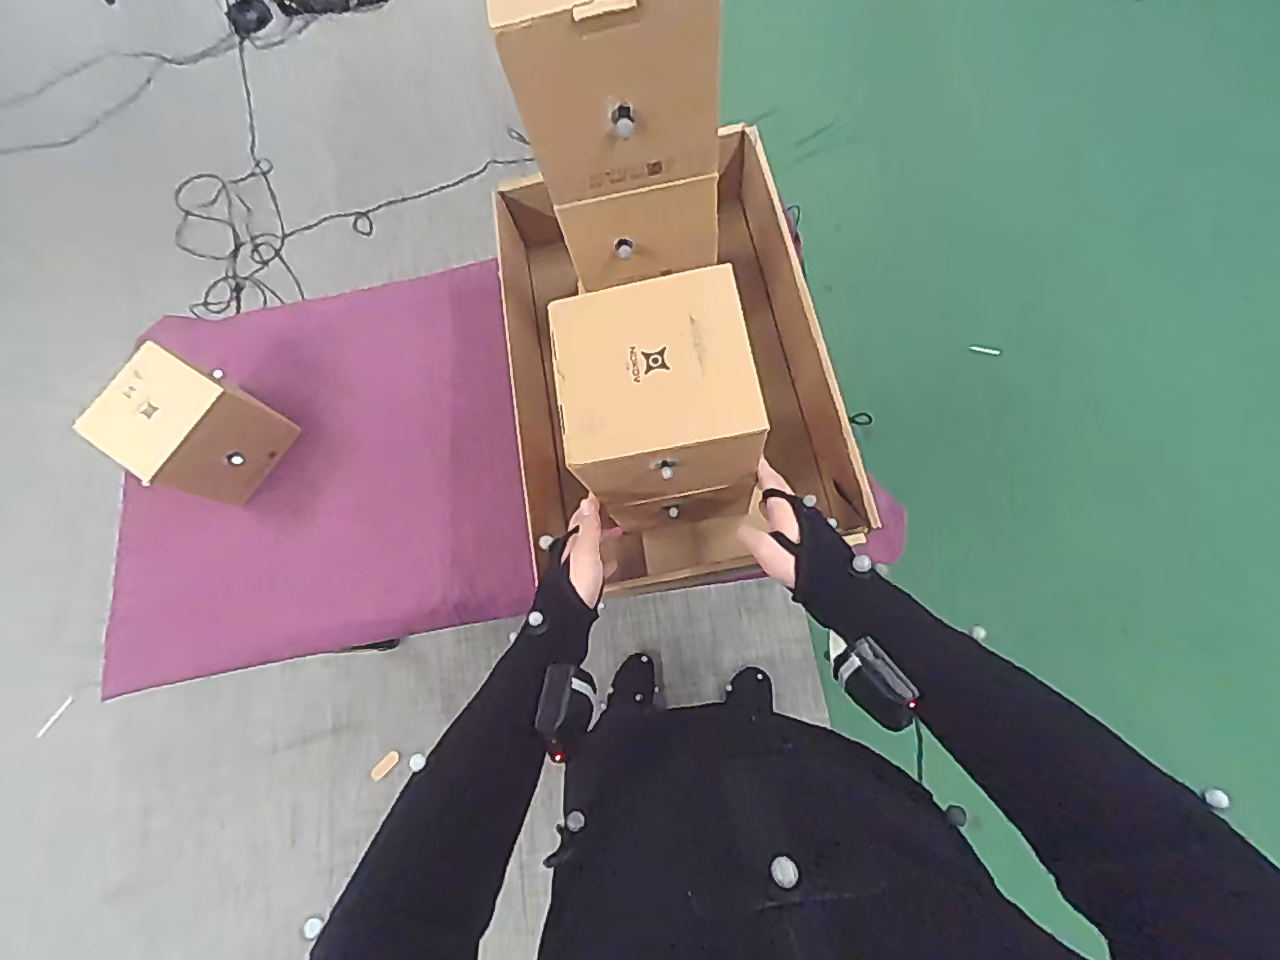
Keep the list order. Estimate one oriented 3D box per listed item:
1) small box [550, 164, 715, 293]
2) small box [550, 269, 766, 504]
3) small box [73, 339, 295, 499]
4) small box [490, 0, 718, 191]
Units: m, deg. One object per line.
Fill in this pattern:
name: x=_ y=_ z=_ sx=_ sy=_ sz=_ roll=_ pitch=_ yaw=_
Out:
small box: x=-0.006 y=-0.338 z=0.629 sx=0.168 sy=0.176 sz=0.179 roll=-9 pitch=74 yaw=5
small box: x=0.021 y=-0.080 z=0.551 sx=0.179 sy=0.176 sz=0.168 roll=-10 pitch=74 yaw=5
small box: x=-0.704 y=-0.085 z=0.858 sx=0.179 sy=0.176 sz=0.168 roll=30 pitch=79 yaw=13
small box: x=-0.025 y=-0.384 z=0.472 sx=0.168 sy=0.176 sz=0.179 roll=-9 pitch=75 yaw=4
